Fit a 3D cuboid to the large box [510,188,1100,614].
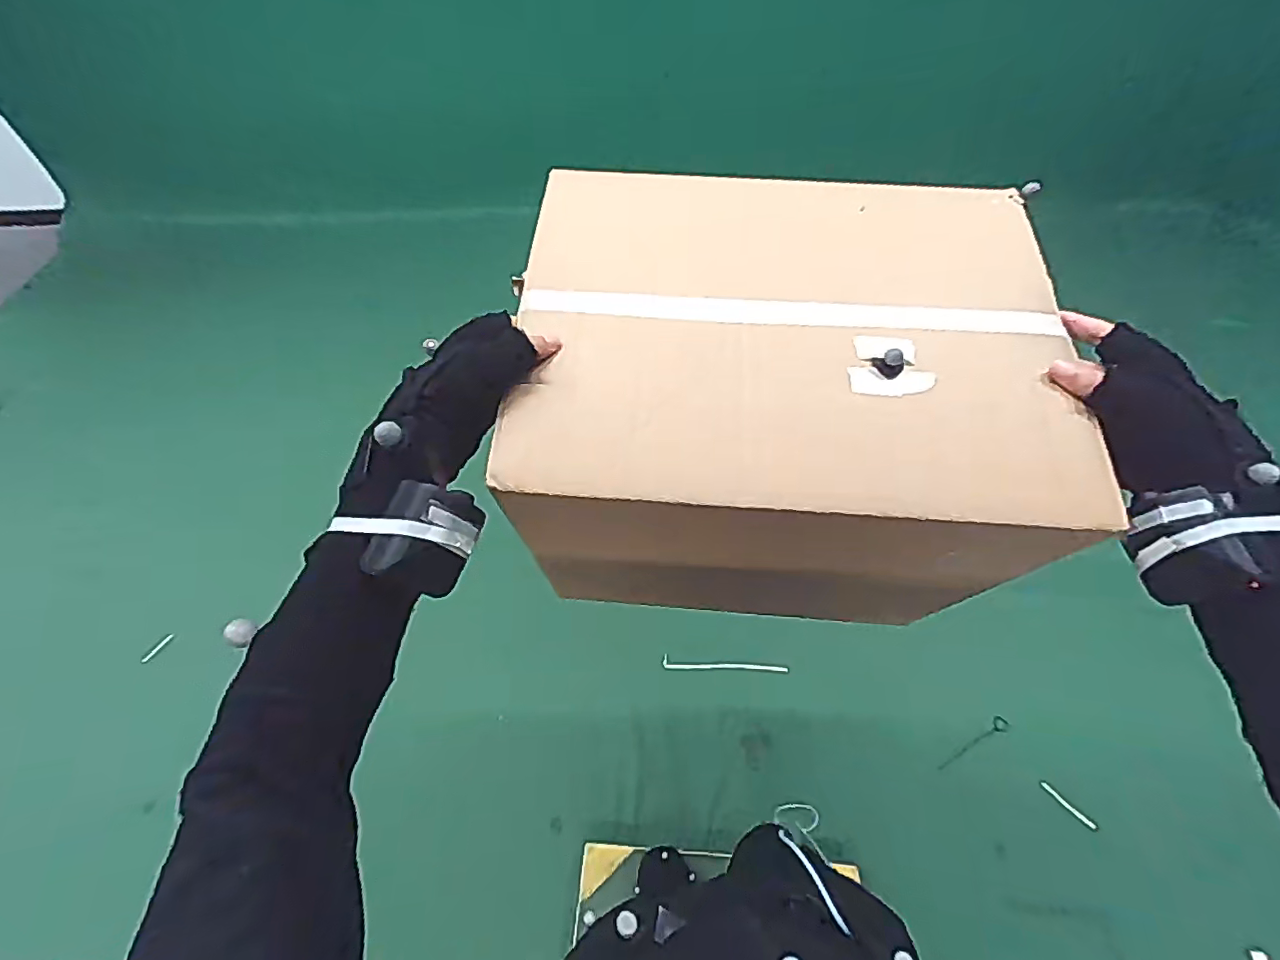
[{"bbox_3d":[0.114,-0.055,0.558,0.408,0.320,0.320,4,65,1],"label":"large box"}]
